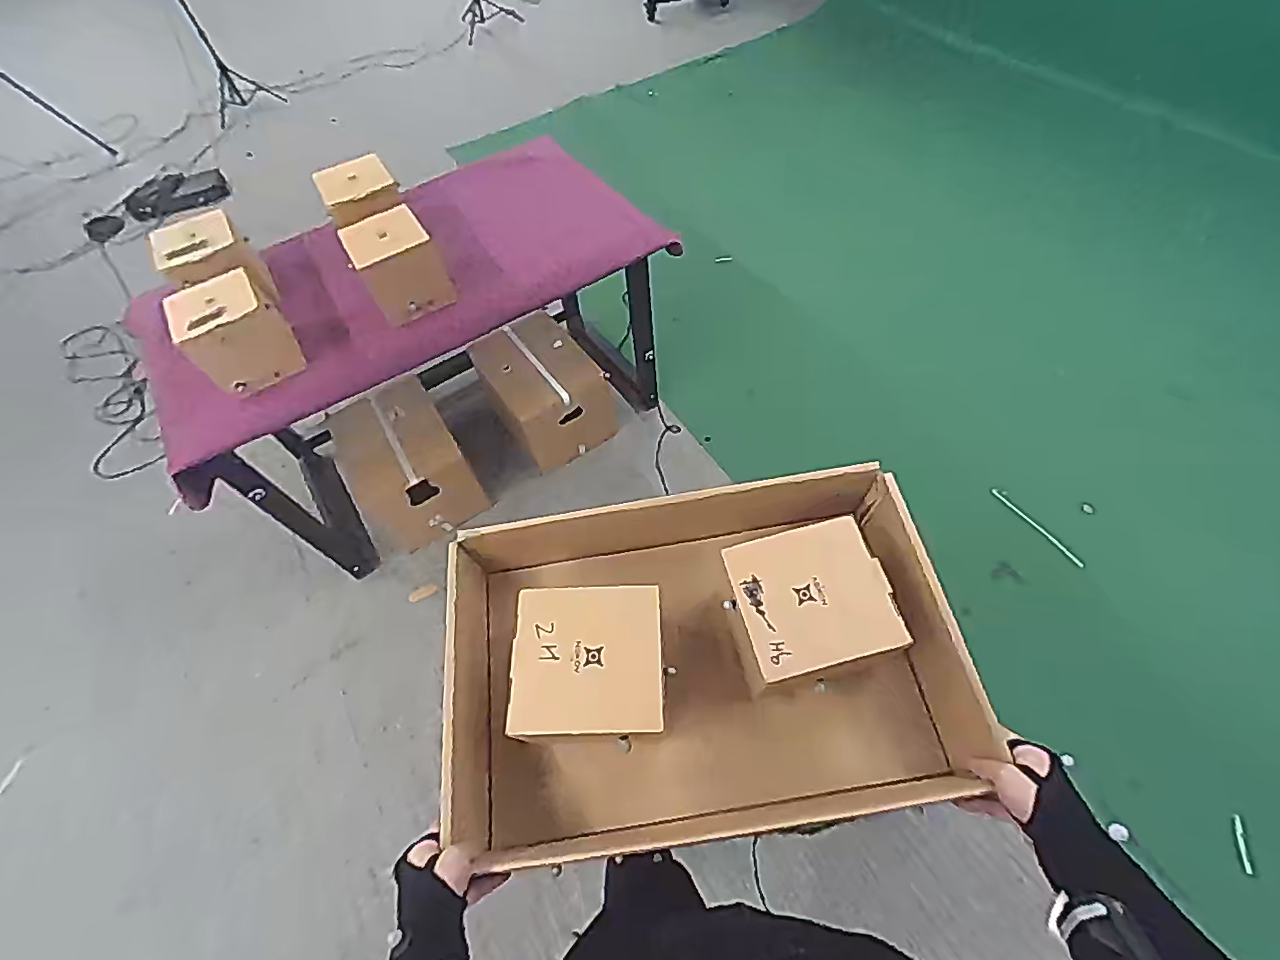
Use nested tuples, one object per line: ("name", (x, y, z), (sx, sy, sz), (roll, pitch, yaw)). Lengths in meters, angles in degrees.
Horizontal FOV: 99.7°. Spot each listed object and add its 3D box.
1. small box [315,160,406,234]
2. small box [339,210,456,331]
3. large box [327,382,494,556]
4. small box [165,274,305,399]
("small box", (-0.688, -0.671, 1.378), (0.168, 0.176, 0.179), (-29, 61, -13))
("small box", (-0.551, -0.476, 1.240), (0.168, 0.176, 0.179), (-30, 59, -12))
("large box", (-0.736, -0.033, 1.763), (0.320, 0.320, 0.408), (-30, 59, -14))
("small box", (-0.854, -0.297, 1.153), (0.168, 0.176, 0.179), (-31, 59, -15))
